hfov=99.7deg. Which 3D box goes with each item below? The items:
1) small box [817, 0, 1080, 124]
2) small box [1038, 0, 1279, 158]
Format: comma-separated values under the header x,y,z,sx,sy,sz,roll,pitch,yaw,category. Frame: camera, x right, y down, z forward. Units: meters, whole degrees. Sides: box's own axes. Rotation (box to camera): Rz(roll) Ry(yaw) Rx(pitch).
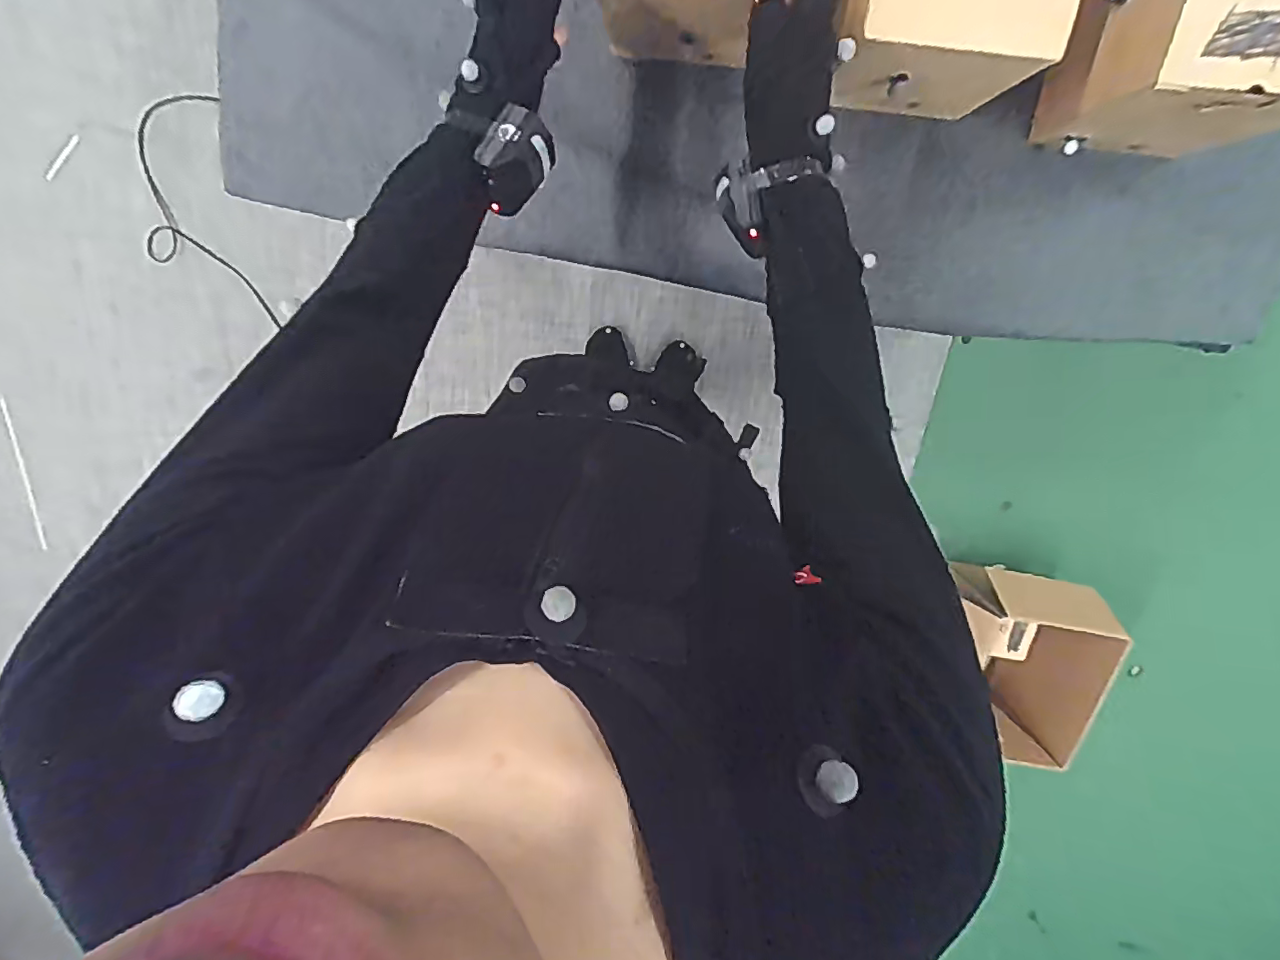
x,y,z,sx,sy,sz,roll,pitch,yaw,category
0.272,-0.449,0.488,0.168,0.176,0.179,6,108,0,small box
0.510,-0.412,0.488,0.168,0.176,0.179,6,107,0,small box
